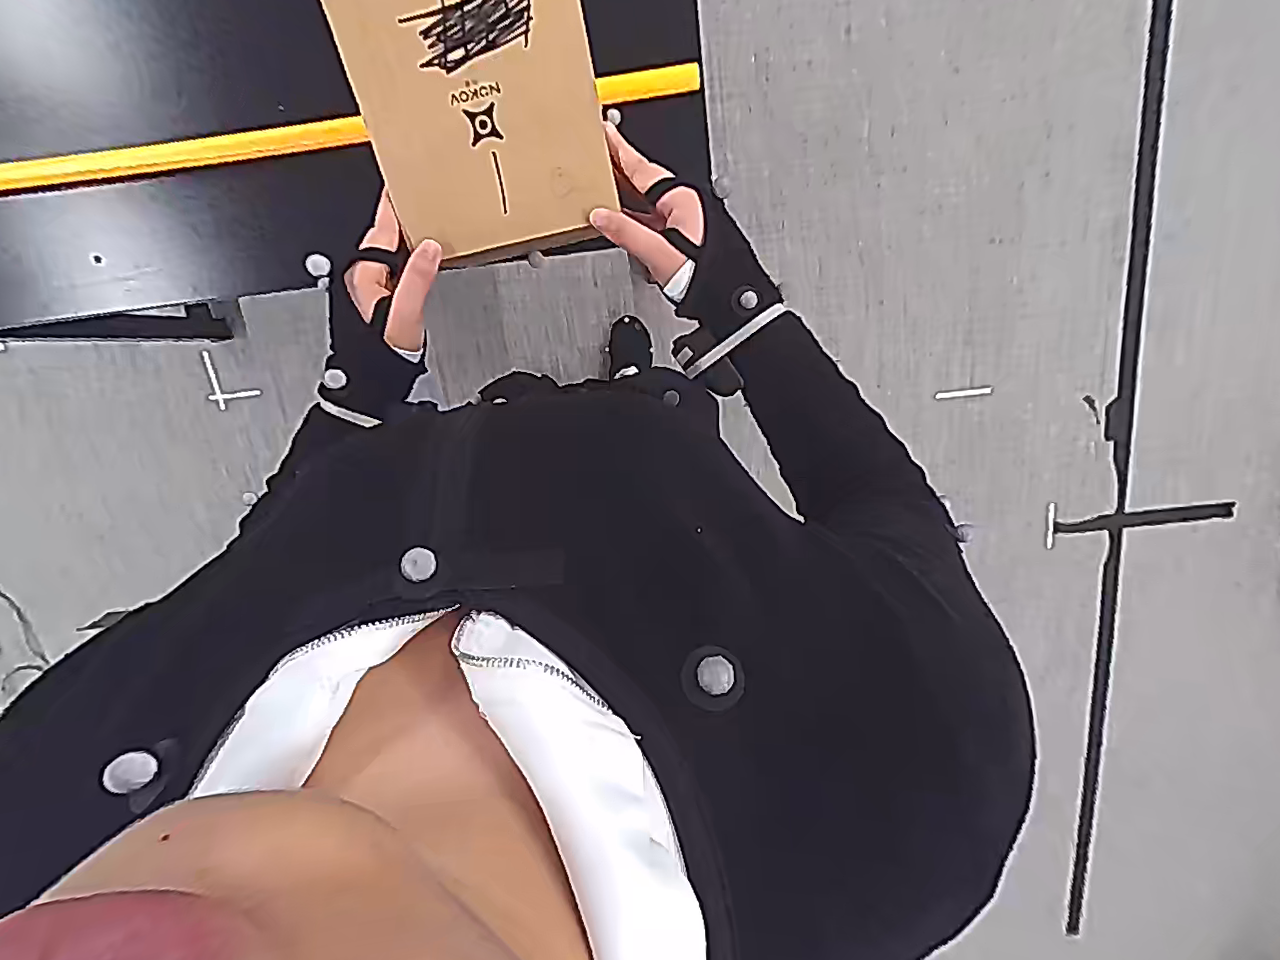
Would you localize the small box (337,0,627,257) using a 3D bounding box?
[{"bbox_3d":[-0.110,-0.297,0.454,0.168,0.176,0.179,-12,112,3],"label":"small box"}]
